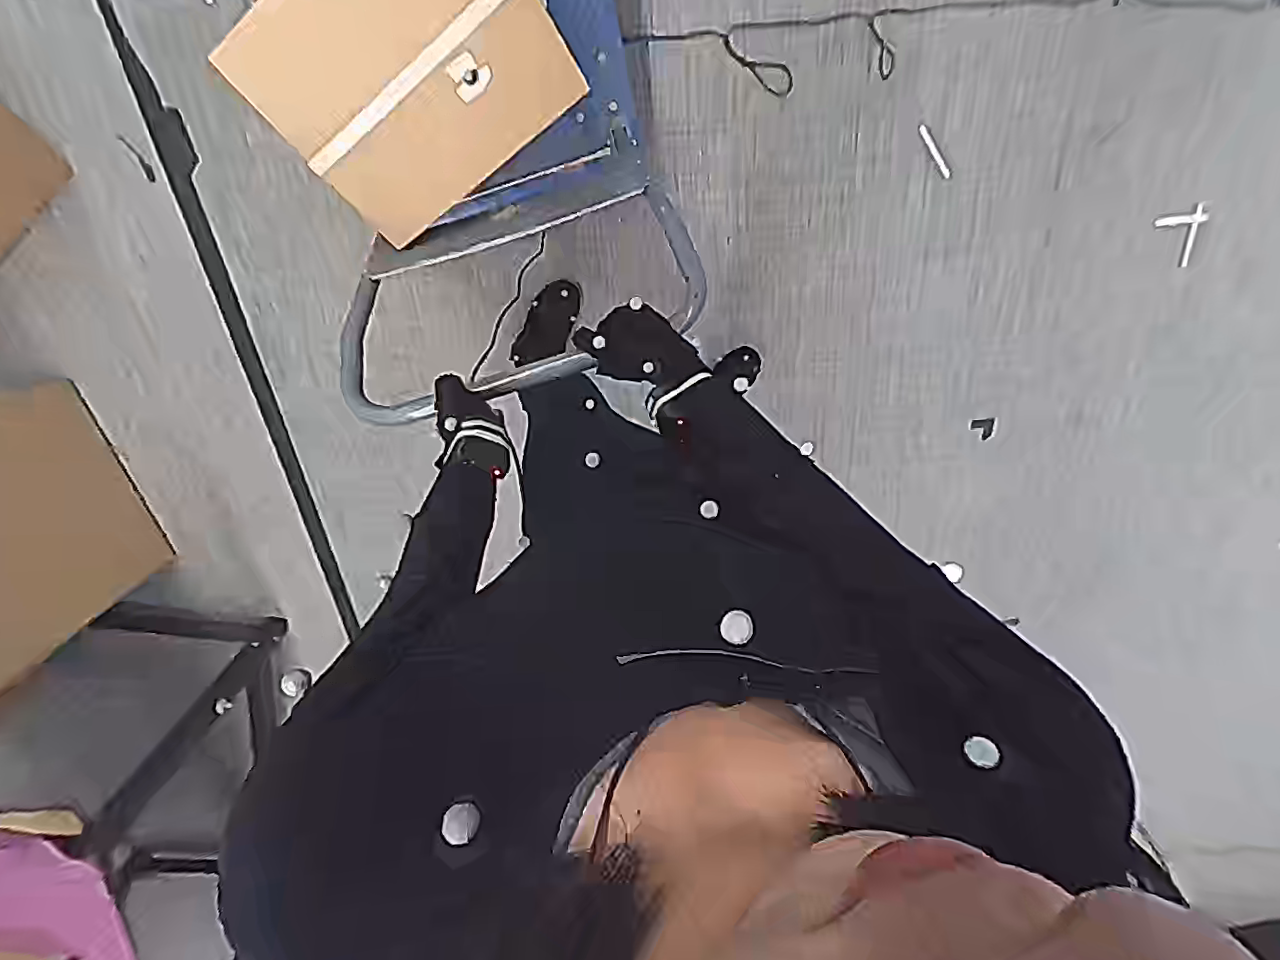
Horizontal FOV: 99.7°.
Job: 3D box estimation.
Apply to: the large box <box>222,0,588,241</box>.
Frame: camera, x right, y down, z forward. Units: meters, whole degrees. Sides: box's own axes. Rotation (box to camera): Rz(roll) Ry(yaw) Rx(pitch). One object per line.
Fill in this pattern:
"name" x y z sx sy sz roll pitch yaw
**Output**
"large box" -0.343 -0.679 0.867 0.408 0.320 0.320 -32 132 15
